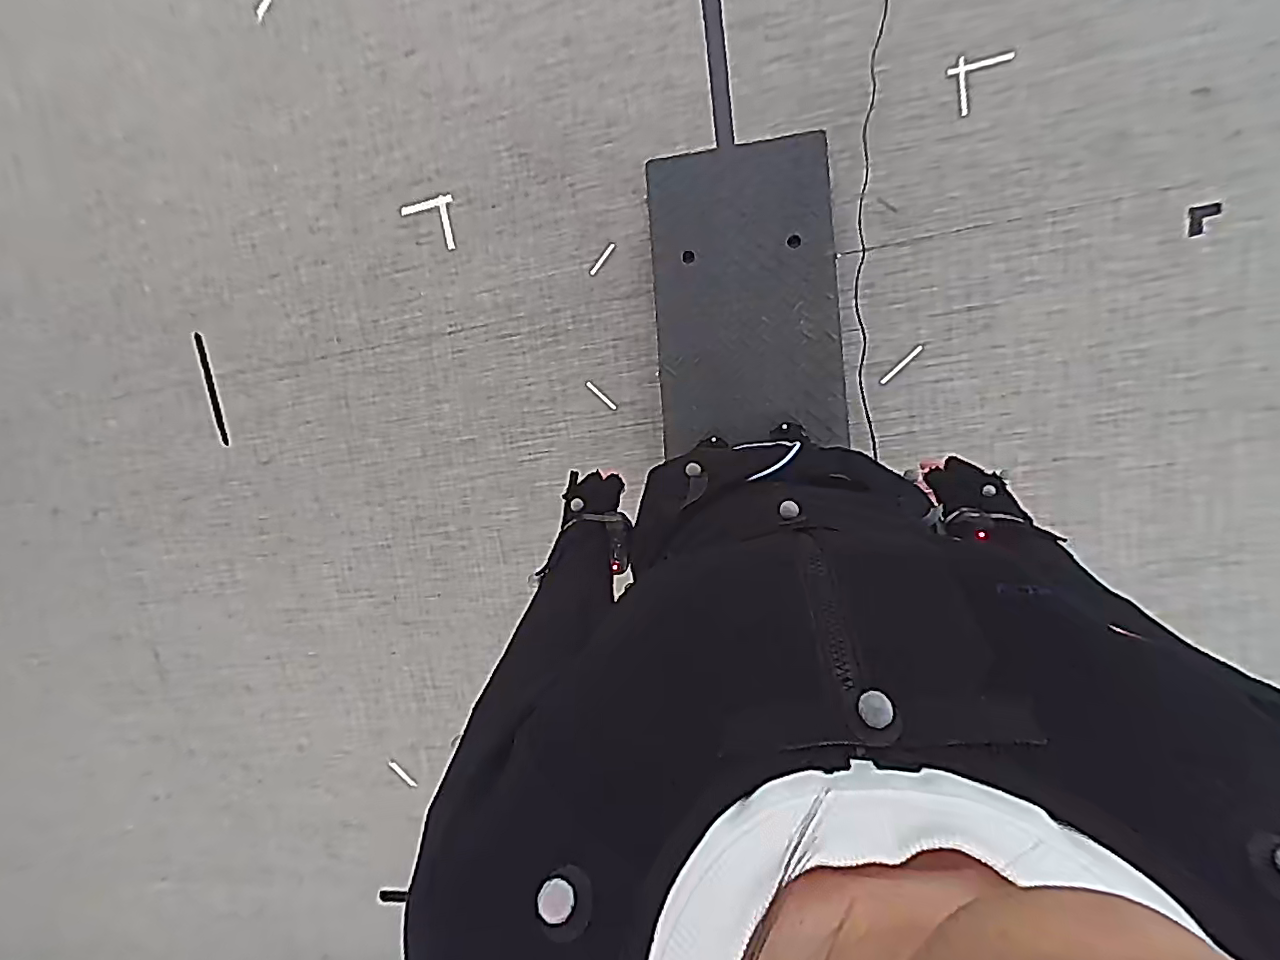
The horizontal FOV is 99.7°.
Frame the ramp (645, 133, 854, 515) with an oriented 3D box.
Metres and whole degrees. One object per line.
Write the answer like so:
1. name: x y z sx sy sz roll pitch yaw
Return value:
1. ramp: 0.282 -0.414 1.469 0.509 0.206 0.991 -6 97 12
